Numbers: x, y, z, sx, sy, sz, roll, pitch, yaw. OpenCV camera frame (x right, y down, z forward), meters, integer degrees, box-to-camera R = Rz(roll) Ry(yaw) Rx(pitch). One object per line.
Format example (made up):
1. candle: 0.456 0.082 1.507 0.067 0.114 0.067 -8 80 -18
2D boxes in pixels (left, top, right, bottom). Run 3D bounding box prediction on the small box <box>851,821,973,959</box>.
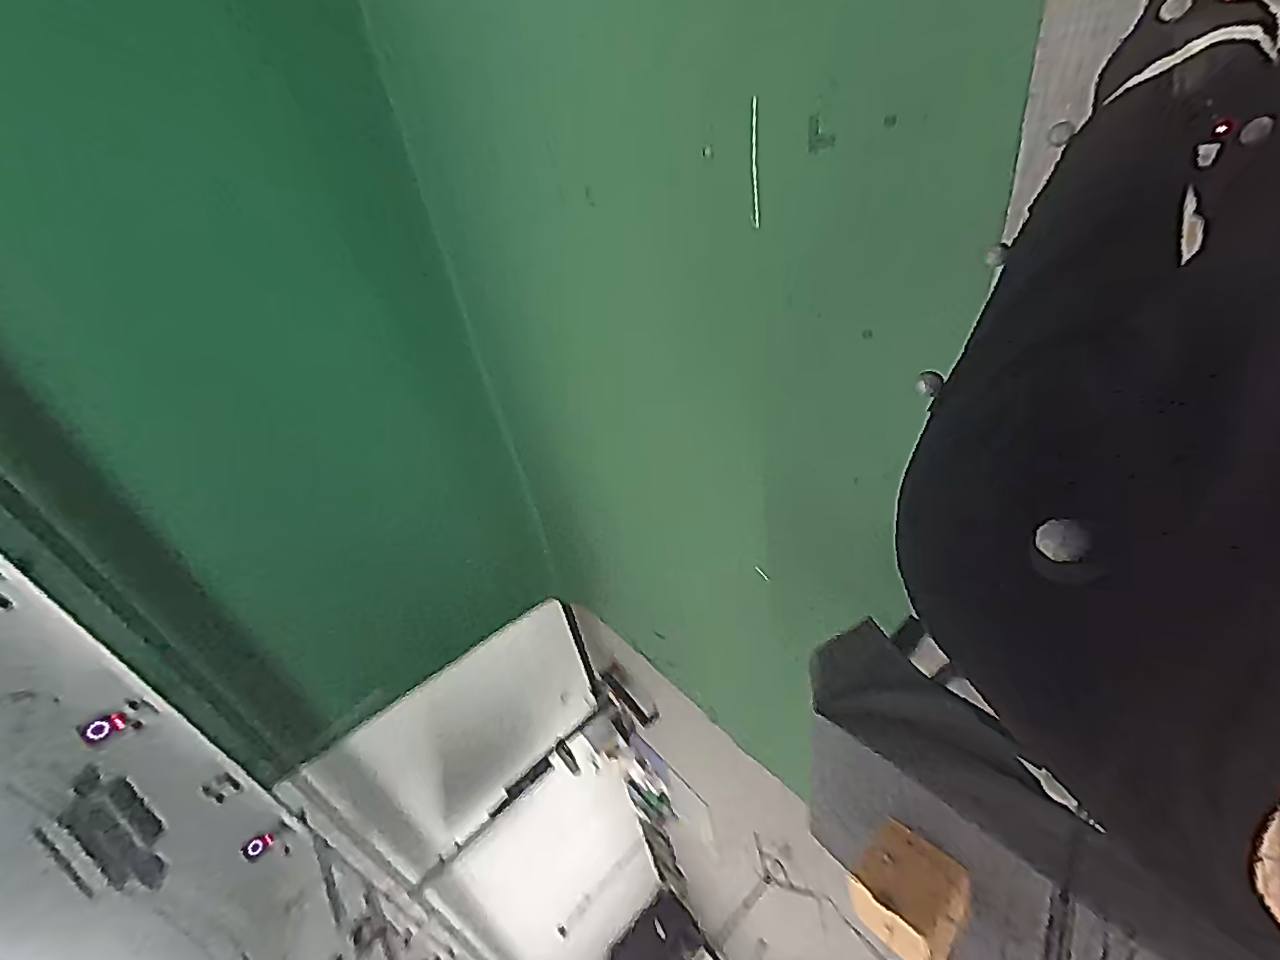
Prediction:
1. small box: 0.570 0.868 1.129 0.168 0.176 0.179 18 134 52
